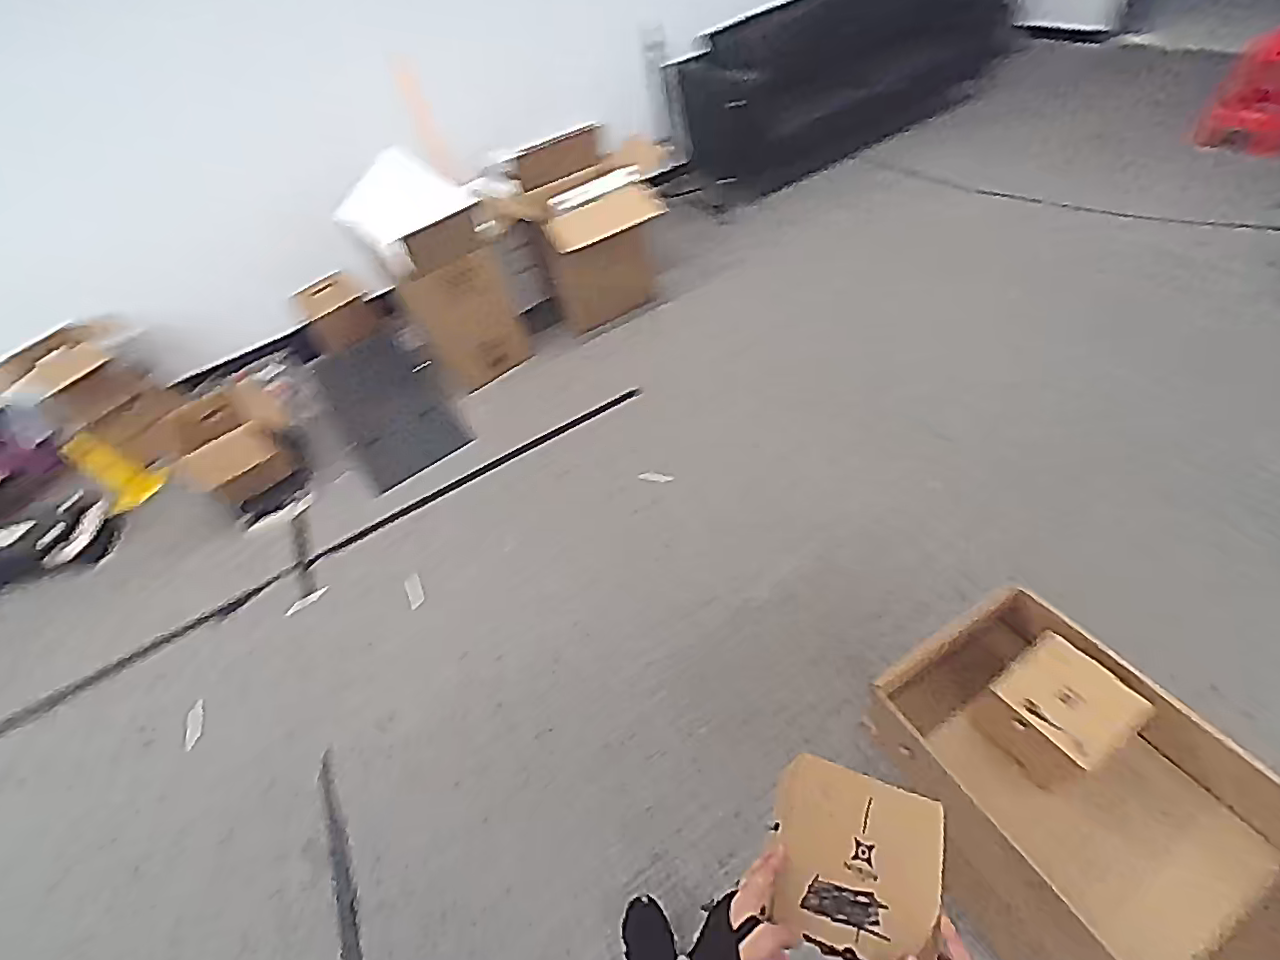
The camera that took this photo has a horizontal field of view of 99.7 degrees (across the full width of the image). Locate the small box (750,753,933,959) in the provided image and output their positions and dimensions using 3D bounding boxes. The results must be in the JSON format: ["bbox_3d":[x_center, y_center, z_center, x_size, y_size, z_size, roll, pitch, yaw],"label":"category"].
[{"bbox_3d":[0.237,0.471,0.662,0.168,0.176,0.179,15,54,14],"label":"small box"}]

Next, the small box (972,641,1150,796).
[{"bbox_3d":[0.746,0.433,0.982,0.179,0.176,0.168,-30,49,-14],"label":"small box"}]
